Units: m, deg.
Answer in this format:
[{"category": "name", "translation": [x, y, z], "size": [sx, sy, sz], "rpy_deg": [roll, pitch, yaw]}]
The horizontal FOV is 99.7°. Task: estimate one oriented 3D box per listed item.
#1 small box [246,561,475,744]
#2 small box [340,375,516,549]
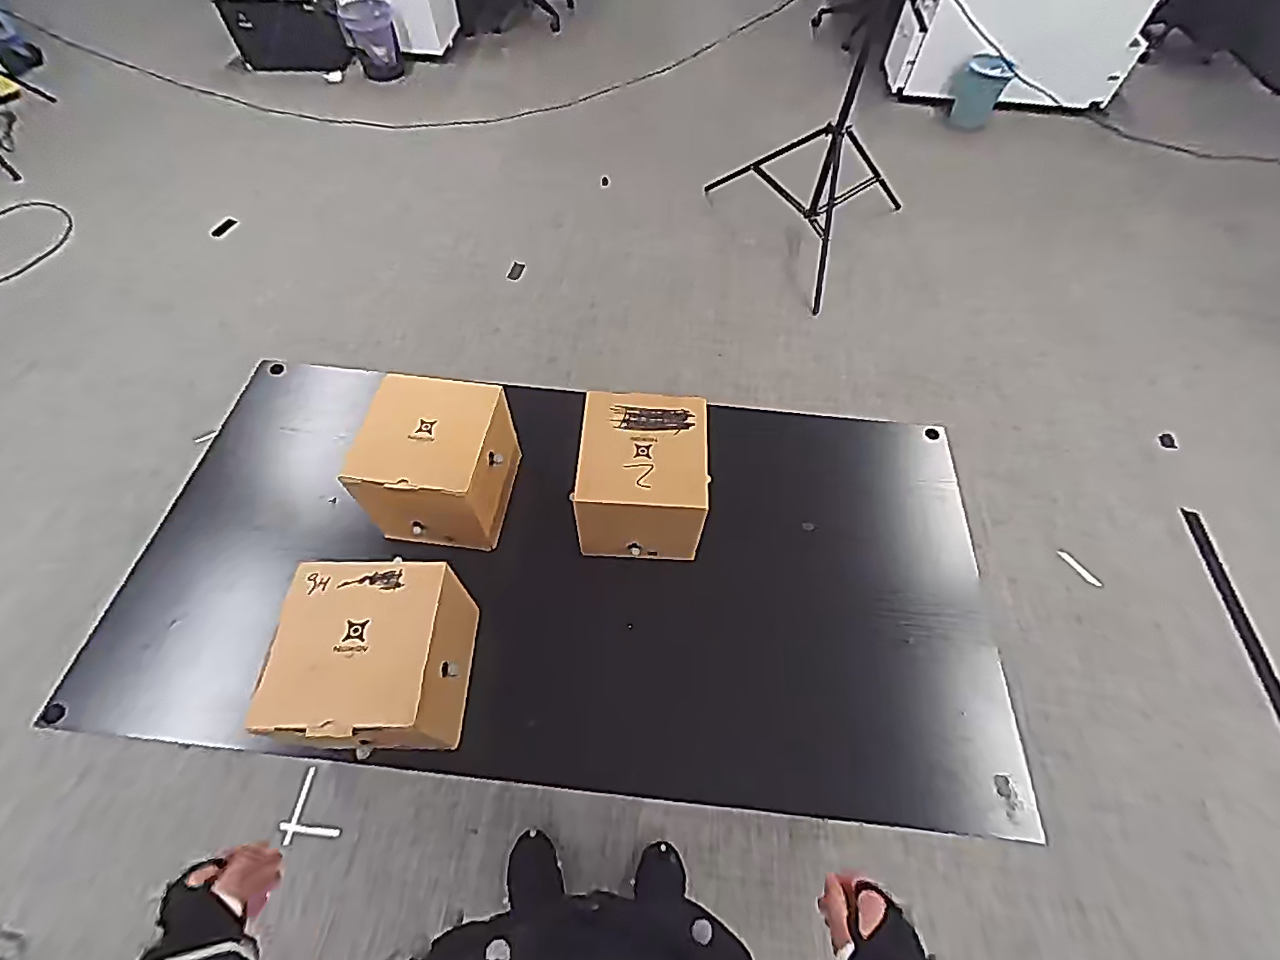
[{"category": "small box", "translation": [-0.302, 0.207, 0.632], "size": [0.168, 0.176, 0.179], "rpy_deg": [0, 59, -2]}, {"category": "small box", "translation": [-0.284, -0.022, 0.776], "size": [0.168, 0.176, 0.179], "rpy_deg": [7, 59, 2]}]
